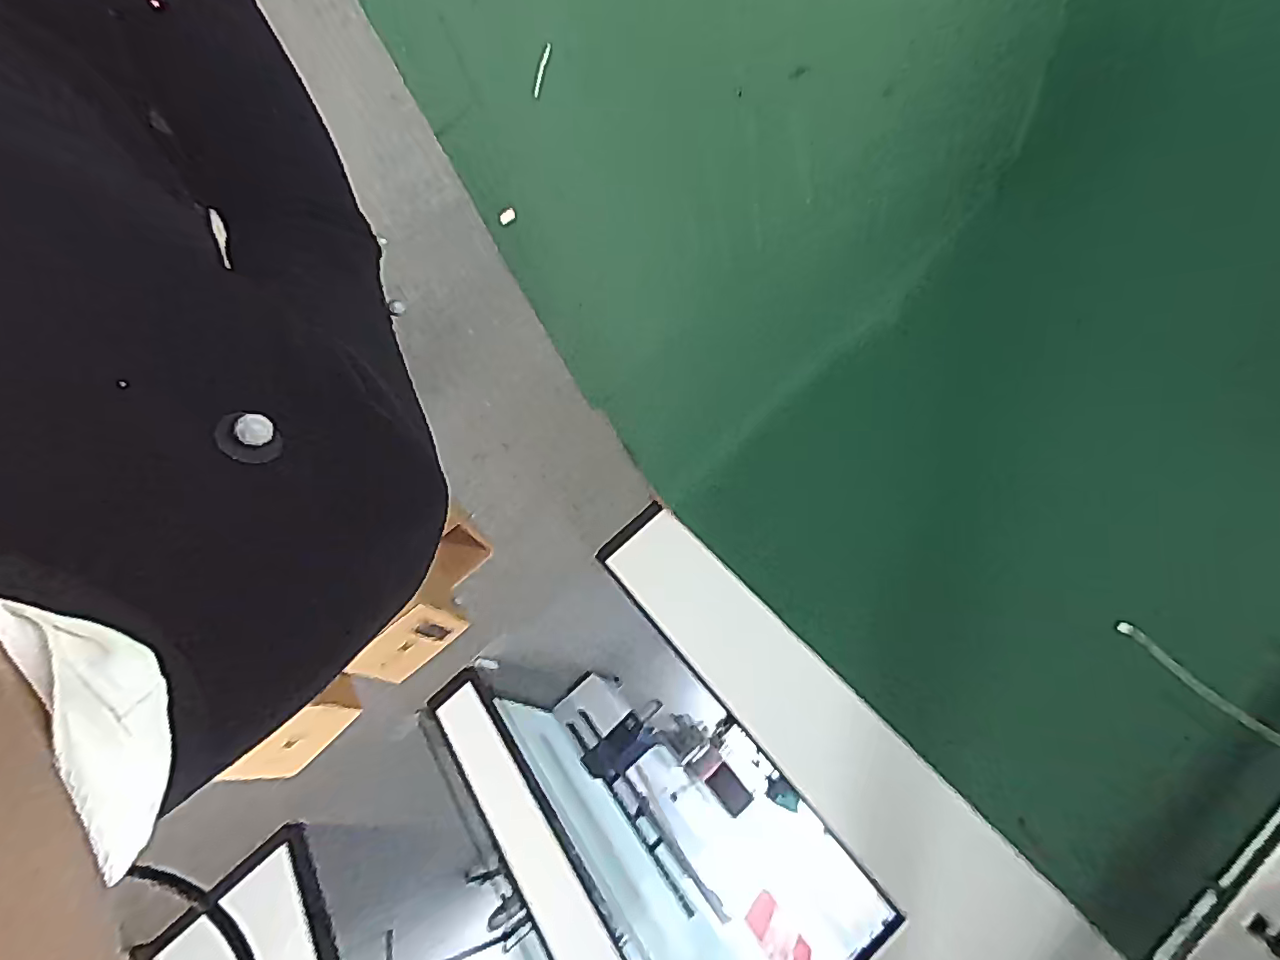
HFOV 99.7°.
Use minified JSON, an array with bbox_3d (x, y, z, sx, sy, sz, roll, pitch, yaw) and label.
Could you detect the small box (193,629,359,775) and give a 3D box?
[{"bbox_3d":[-0.663,0.399,0.982,0.179,0.176,0.168,-42,148,-4],"label":"small box"}]
